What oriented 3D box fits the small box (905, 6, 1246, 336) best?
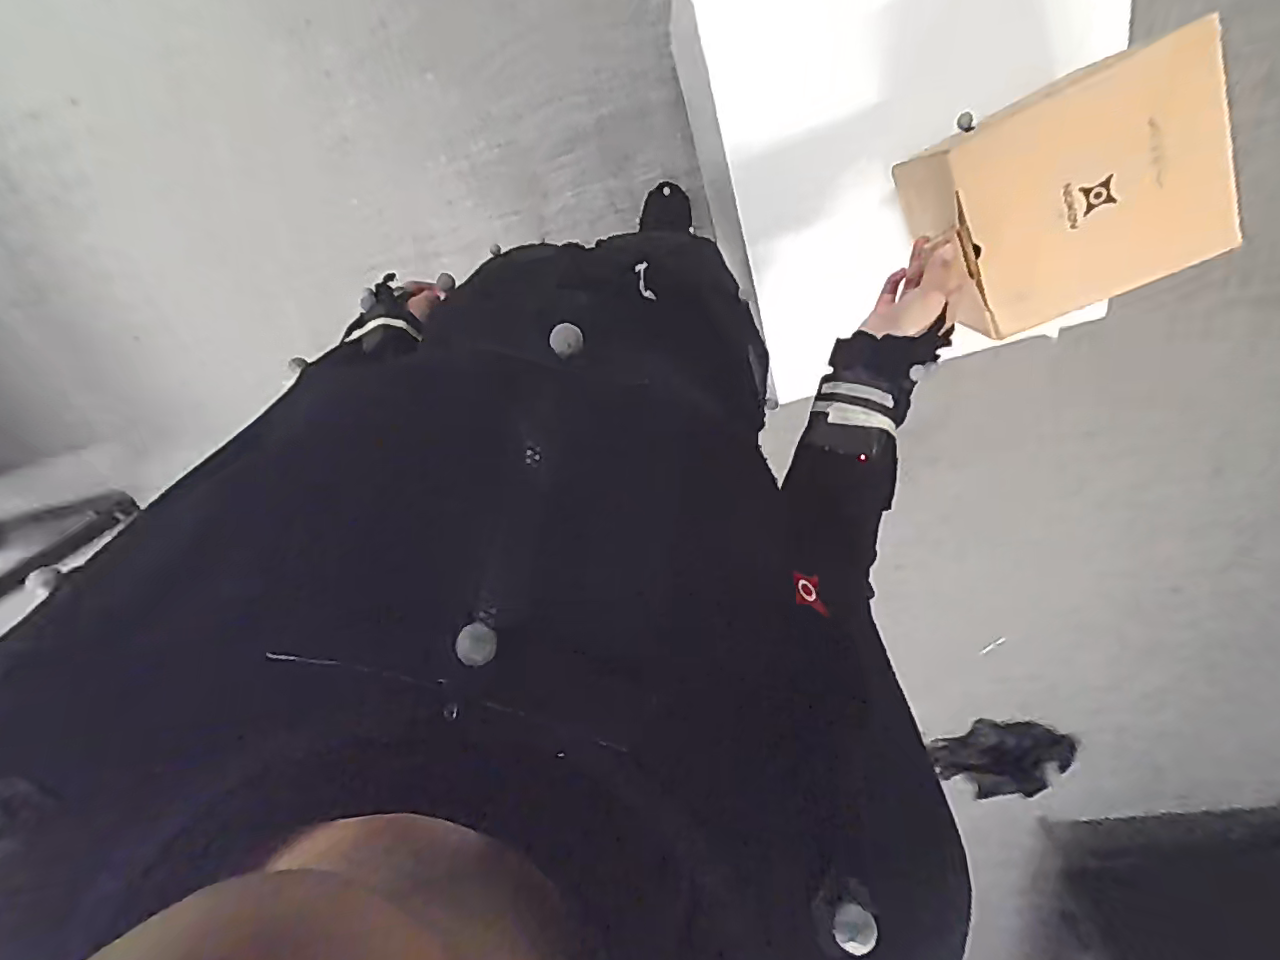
[{"bbox_3d":[0.359,-0.253,0.484,0.179,0.176,0.168,-24,110,19],"label":"small box"}]
